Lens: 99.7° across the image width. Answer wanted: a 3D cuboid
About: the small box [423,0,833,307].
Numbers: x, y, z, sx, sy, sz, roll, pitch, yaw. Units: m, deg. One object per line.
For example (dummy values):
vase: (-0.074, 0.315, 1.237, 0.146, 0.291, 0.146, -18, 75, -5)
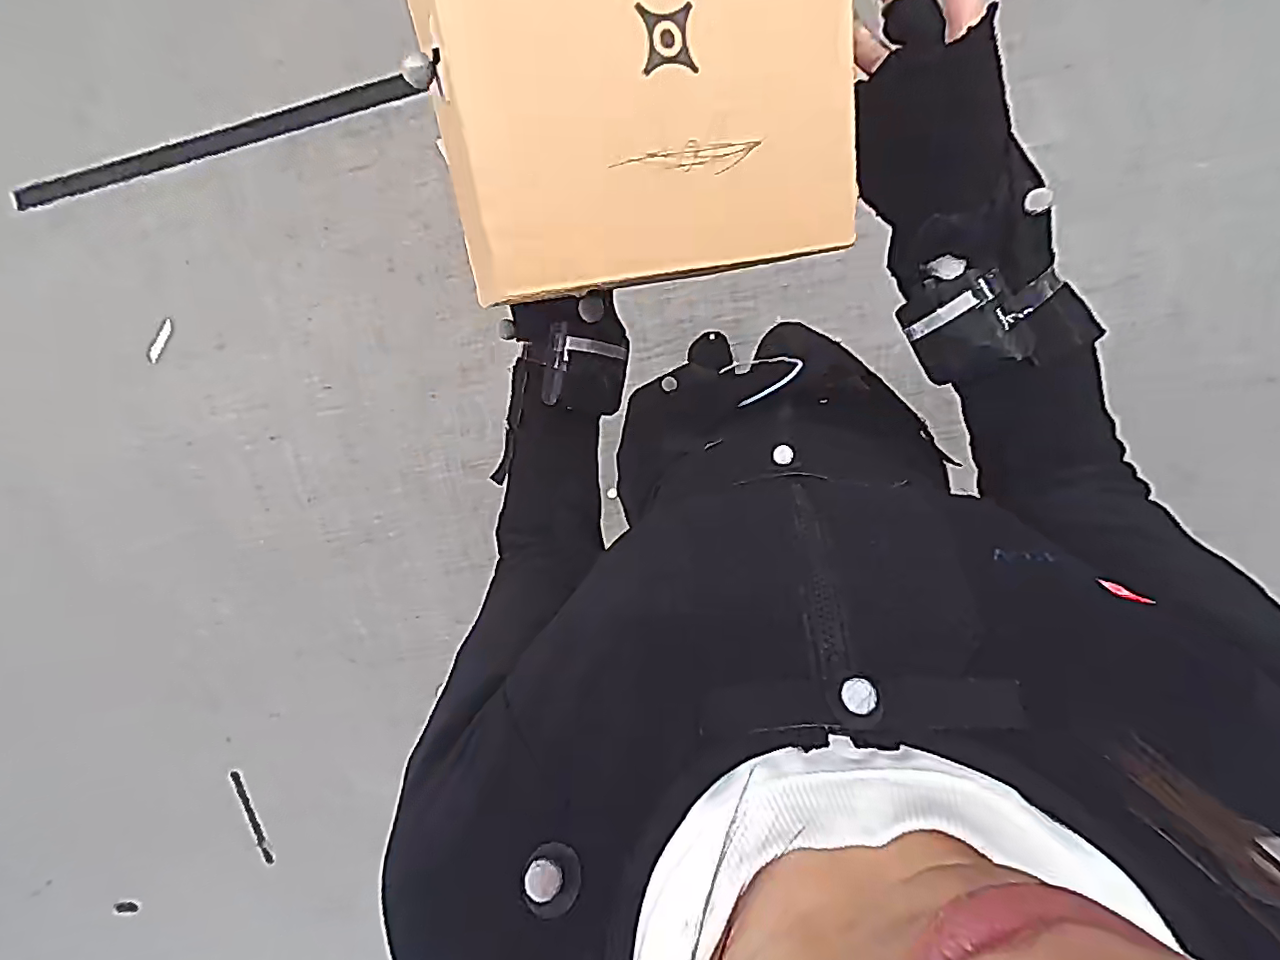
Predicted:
small box: (-0.018, -0.197, 0.293, 0.168, 0.176, 0.179, -13, 109, -13)
